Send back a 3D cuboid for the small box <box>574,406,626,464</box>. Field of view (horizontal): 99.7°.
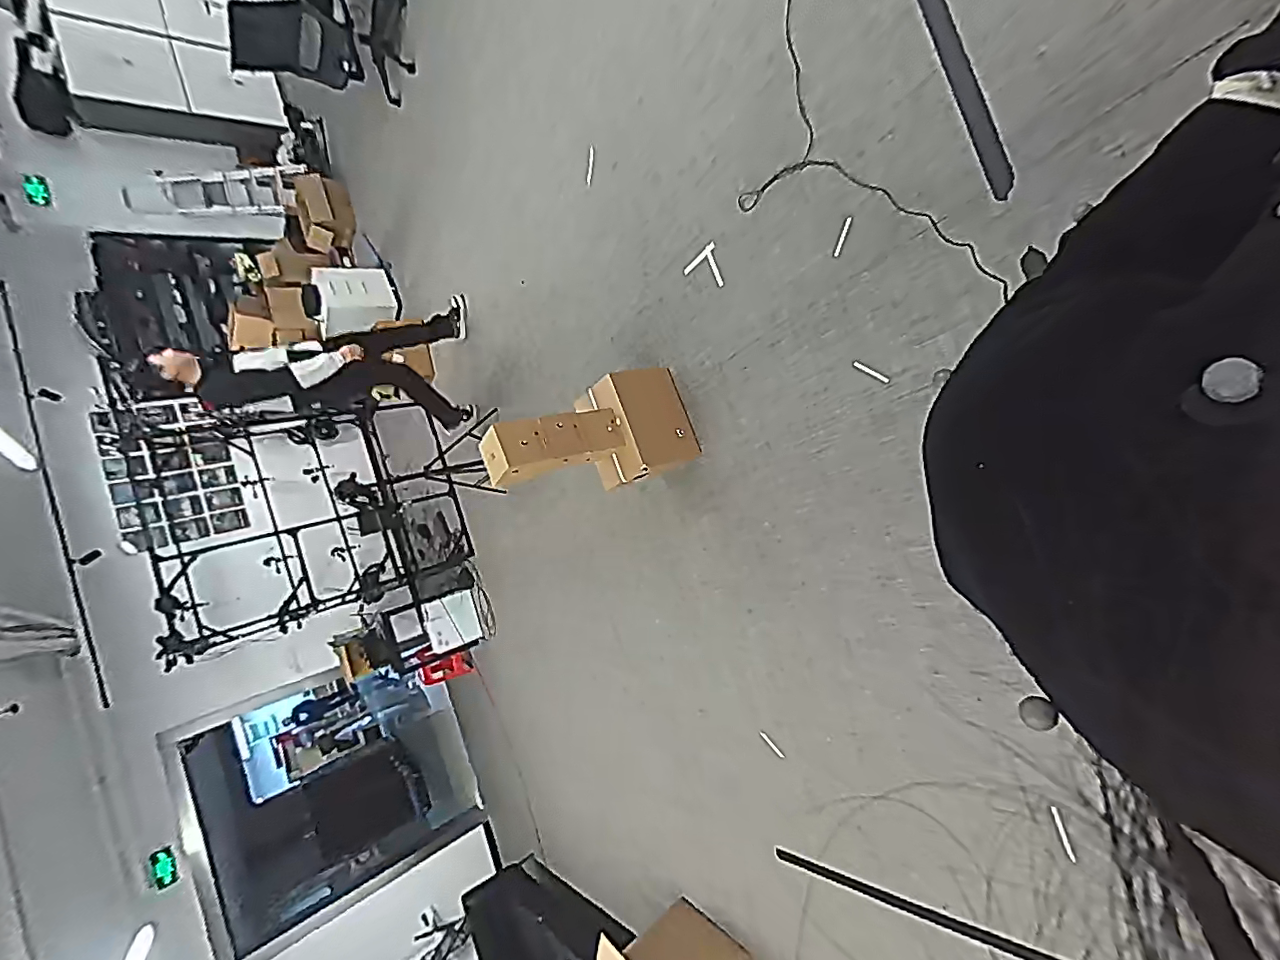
[{"bbox_3d":[-0.182,-0.176,2.106,0.179,0.176,0.168,-29,80,52],"label":"small box"}]

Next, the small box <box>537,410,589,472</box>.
[{"bbox_3d":[-0.306,-0.146,2.005,0.179,0.176,0.168,-32,76,53],"label":"small box"}]

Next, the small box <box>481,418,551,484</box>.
[{"bbox_3d":[-0.434,-0.106,1.909,0.179,0.176,0.168,-38,71,51],"label":"small box"}]
